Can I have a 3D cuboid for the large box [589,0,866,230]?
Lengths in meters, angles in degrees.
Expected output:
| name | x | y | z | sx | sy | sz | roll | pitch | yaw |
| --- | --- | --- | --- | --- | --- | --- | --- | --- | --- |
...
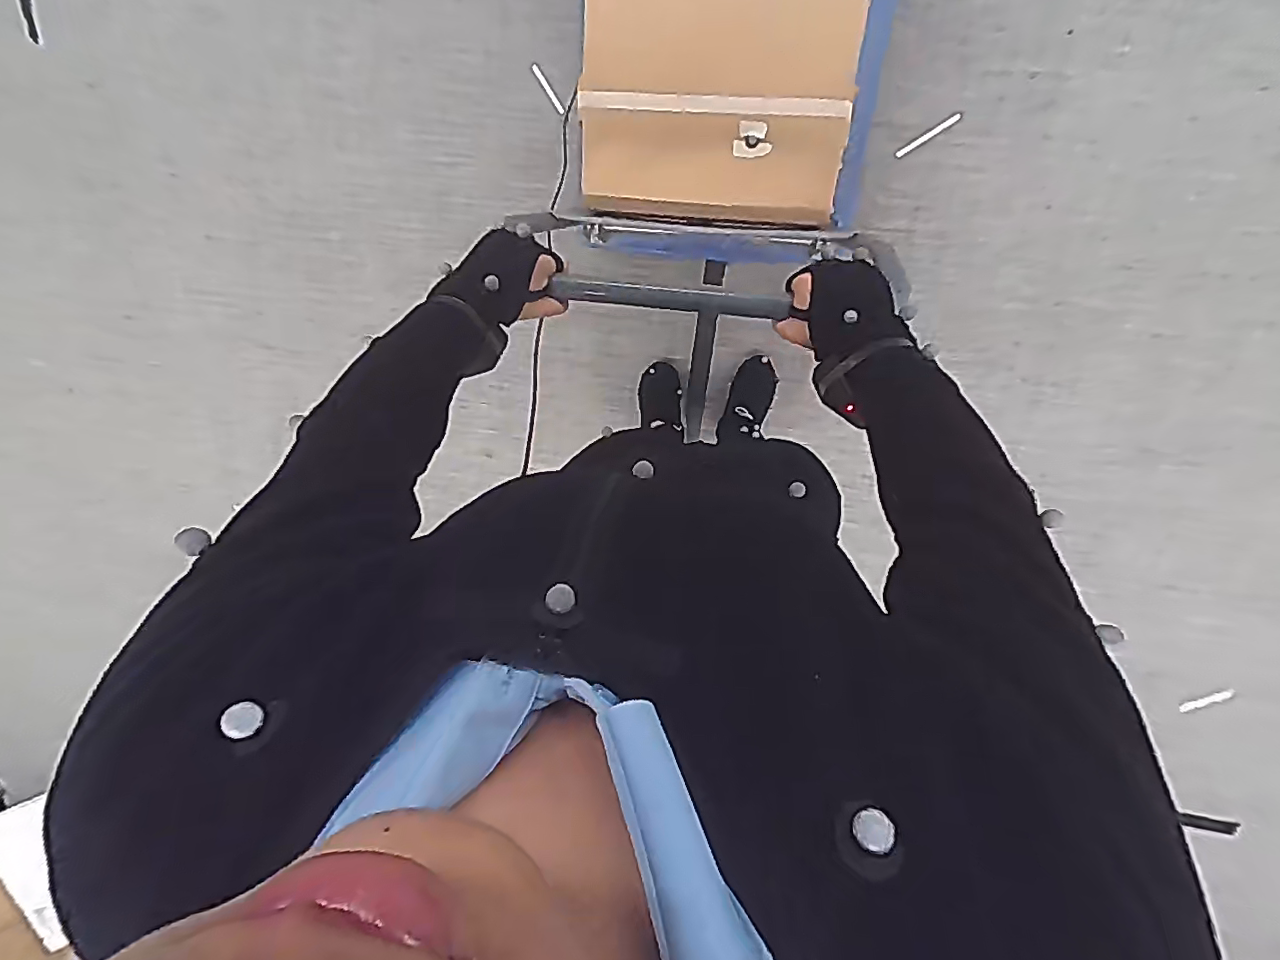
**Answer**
| name | x | y | z | sx | sy | sz | roll | pitch | yaw |
| --- | --- | --- | --- | --- | --- | --- | --- | --- | --- |
| large box | 0.134 | -0.630 | 0.969 | 0.408 | 0.320 | 0.320 | 6 | 115 | 6 |
